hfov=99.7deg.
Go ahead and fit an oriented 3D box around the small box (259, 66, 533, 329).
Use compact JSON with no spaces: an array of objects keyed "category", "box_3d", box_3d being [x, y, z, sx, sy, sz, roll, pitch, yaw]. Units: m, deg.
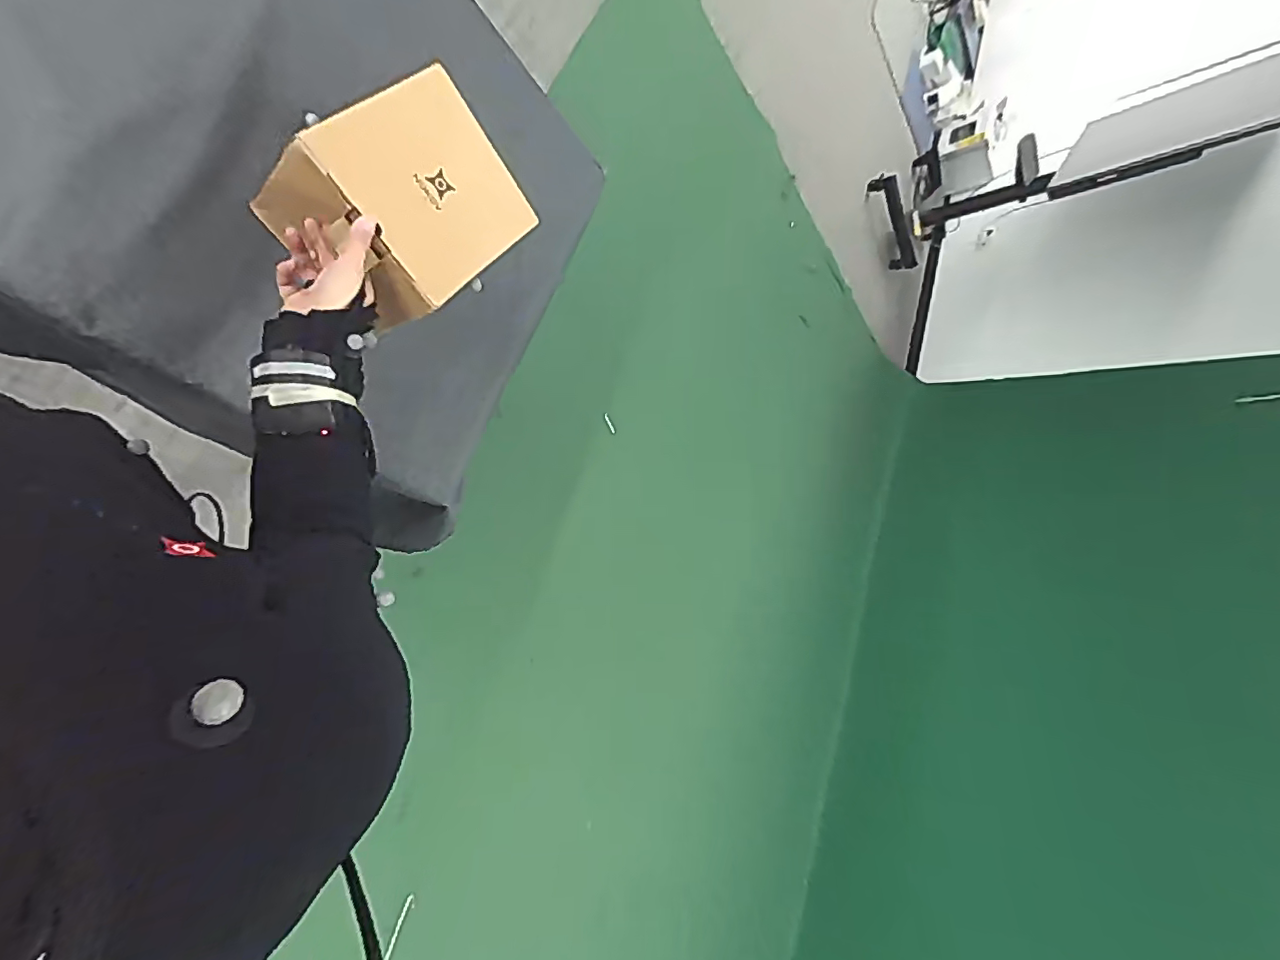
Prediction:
[{"category":"small box","box_3d":[-0.257,-0.285,0.575,0.179,0.176,0.168,-56,128,-29]}]
